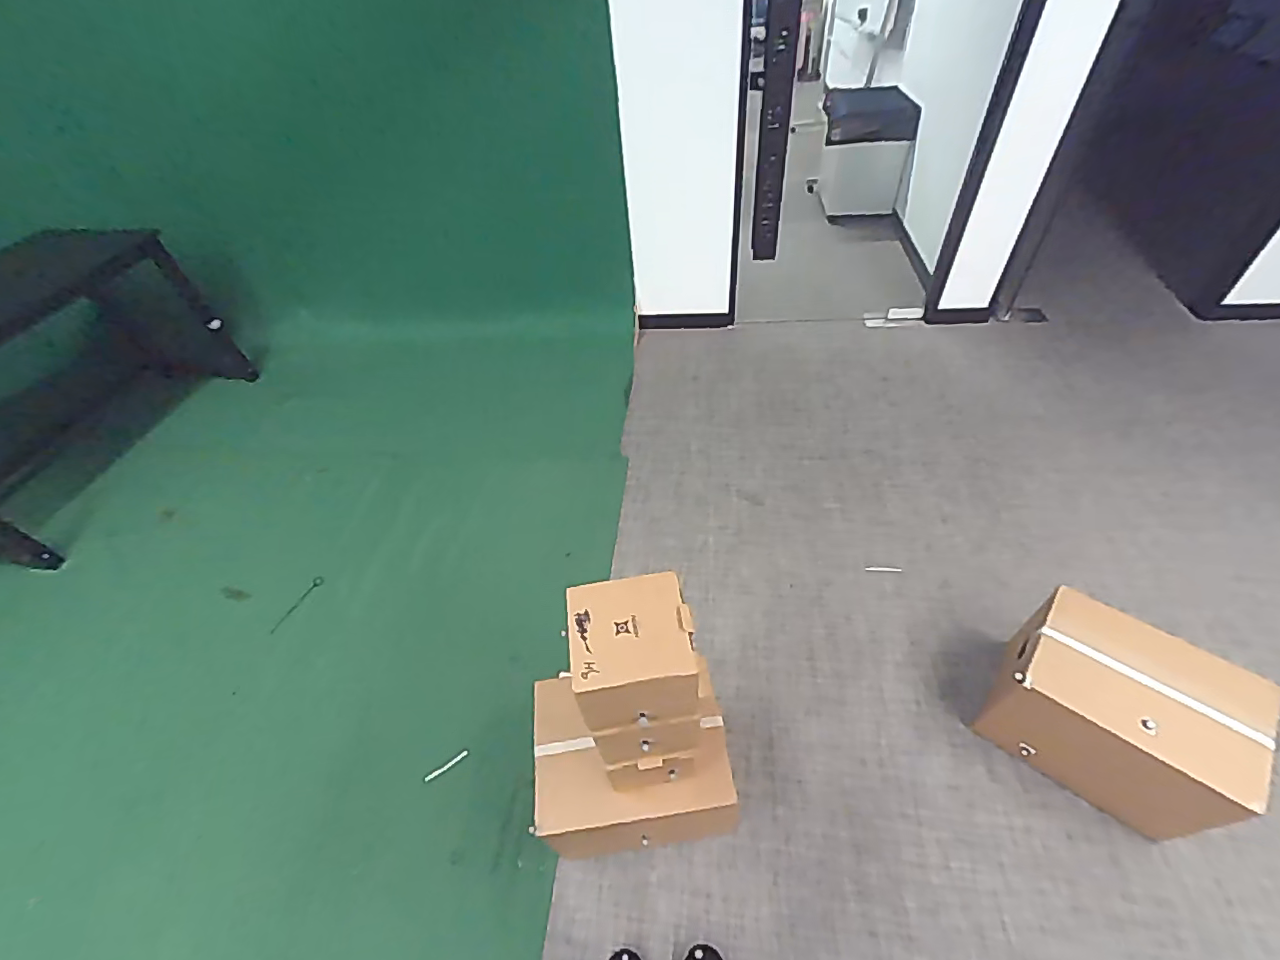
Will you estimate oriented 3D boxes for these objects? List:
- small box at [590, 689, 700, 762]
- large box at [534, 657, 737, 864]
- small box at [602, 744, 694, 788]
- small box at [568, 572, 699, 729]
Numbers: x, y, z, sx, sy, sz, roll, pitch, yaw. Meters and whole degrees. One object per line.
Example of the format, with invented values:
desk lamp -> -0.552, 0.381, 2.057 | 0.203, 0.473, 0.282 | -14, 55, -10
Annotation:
small box -> 0.003, 0.378, 0.954 | 0.179, 0.176, 0.168 | -9, 47, -2
large box -> -0.011, 0.654, 1.256 | 0.408, 0.320, 0.320 | -10, 46, -1
small box -> 0.013, 0.491, 1.071 | 0.168, 0.176, 0.179 | -8, 47, -2
small box -> -0.012, 0.264, 0.835 | 0.179, 0.176, 0.168 | -8, 47, -3
